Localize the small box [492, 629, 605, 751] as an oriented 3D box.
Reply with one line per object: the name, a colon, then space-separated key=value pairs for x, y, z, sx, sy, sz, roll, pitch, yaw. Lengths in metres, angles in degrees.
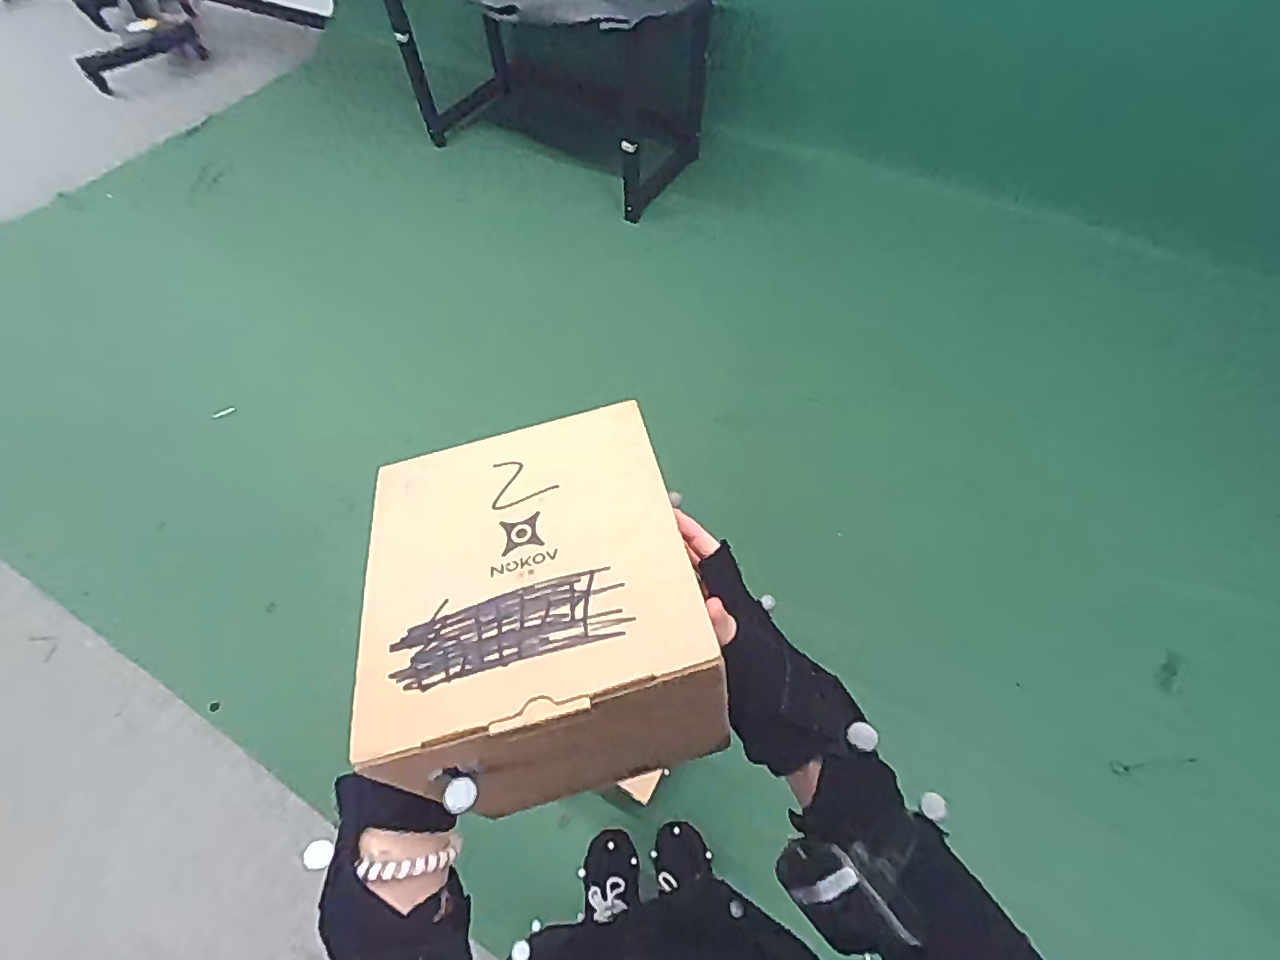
small box: x=-0.182 y=0.447 z=1.142 sx=0.168 sy=0.176 sz=0.179 roll=22 pitch=64 yaw=13
